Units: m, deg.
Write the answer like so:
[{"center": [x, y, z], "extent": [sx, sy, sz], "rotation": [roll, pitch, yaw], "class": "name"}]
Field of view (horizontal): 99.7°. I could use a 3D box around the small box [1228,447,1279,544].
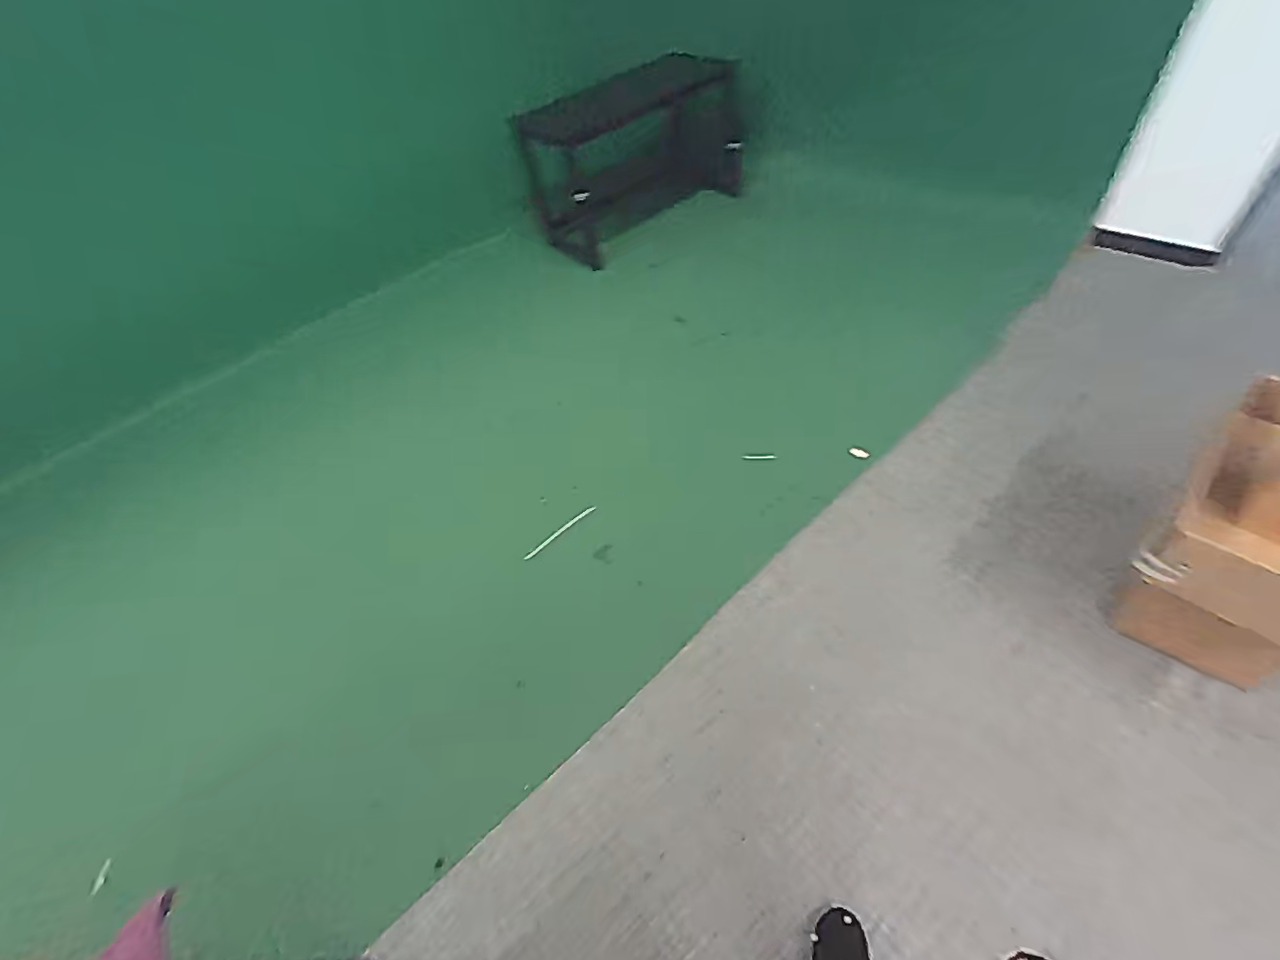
[{"center": [1.432, 0.037, 1.154], "extent": [0.168, 0.176, 0.179], "rotation": [-40, 54, -23], "class": "small box"}]
